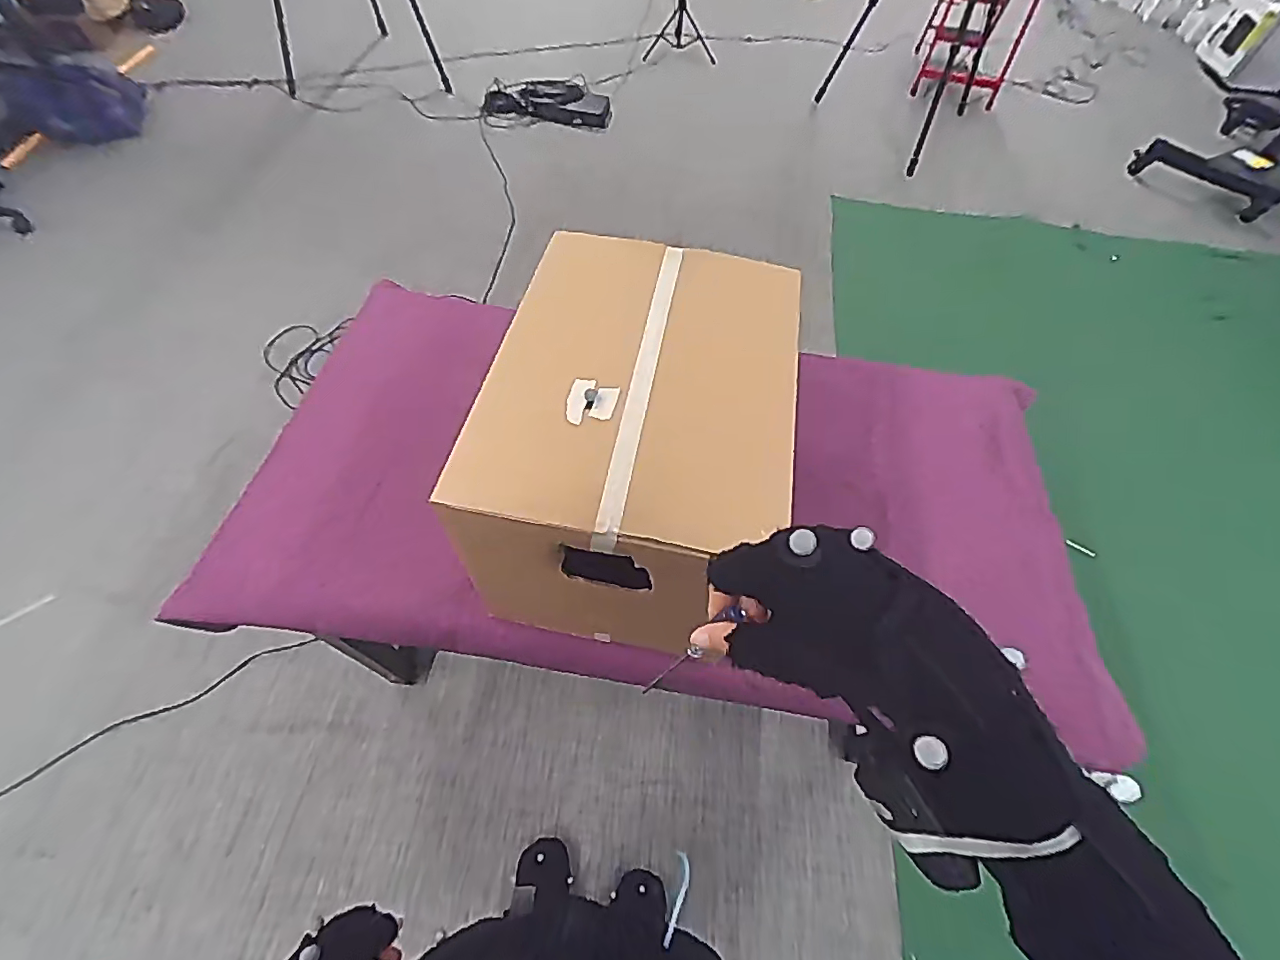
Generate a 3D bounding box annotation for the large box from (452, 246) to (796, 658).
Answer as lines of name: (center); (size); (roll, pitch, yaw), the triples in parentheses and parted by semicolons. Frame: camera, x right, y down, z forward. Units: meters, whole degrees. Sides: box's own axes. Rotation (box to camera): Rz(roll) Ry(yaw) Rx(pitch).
large box: (0.001, -0.029, 0.710); (0.320, 0.320, 0.408); (11, 58, 3)
